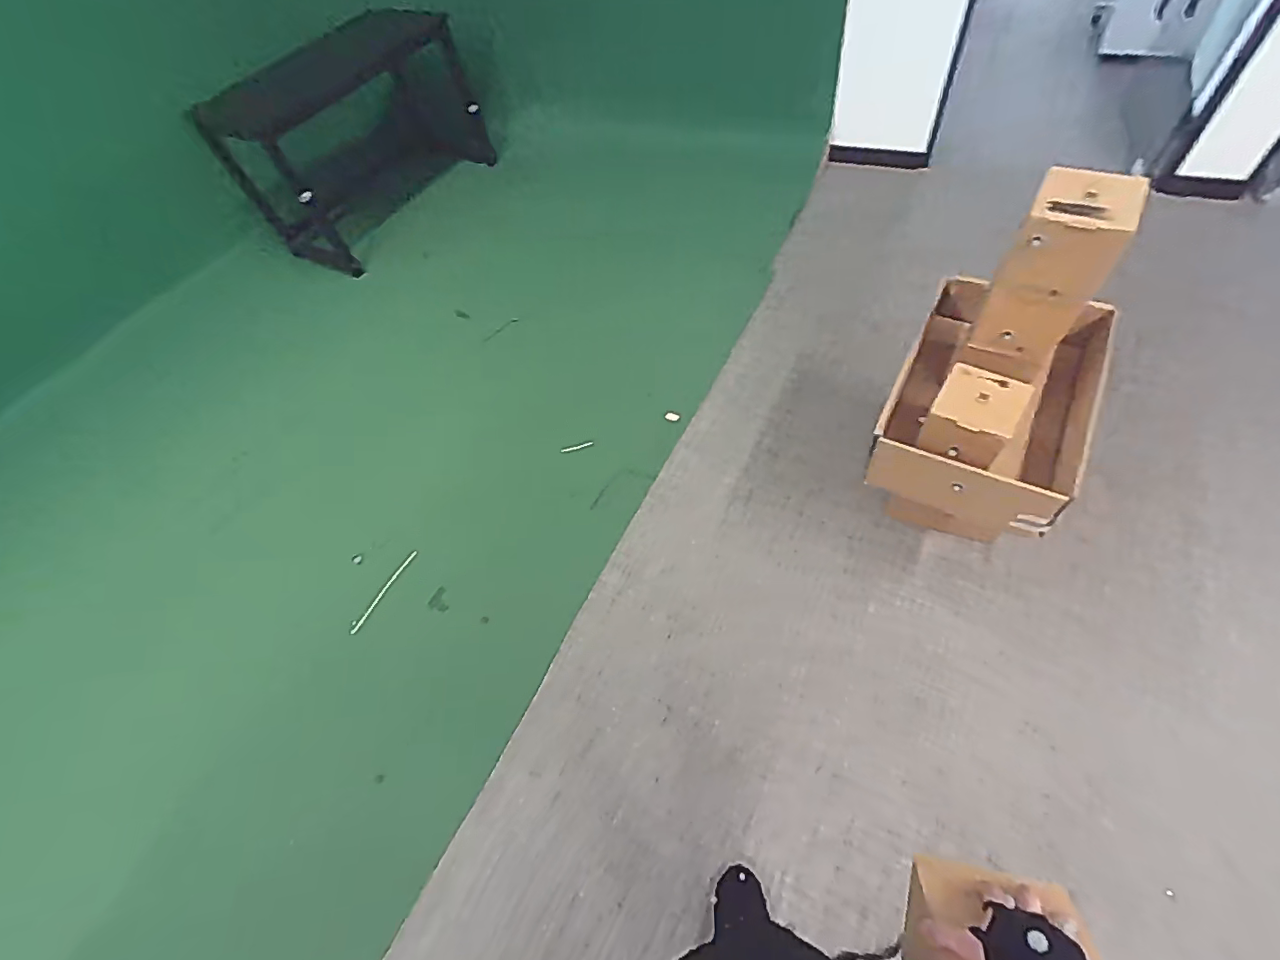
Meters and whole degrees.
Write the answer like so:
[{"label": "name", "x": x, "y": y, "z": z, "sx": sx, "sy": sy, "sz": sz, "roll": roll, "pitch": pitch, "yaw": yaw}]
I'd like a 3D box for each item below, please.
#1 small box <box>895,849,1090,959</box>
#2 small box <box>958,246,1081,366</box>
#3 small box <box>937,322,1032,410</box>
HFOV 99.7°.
[{"label": "small box", "x": 0.393, "y": 0.576, "z": 0.608, "sx": 0.168, "sy": 0.179, "sz": 0.176, "roll": 5, "pitch": 102, "yaw": 17}, {"label": "small box", "x": 0.856, "y": -0.395, "z": 1.233, "sx": 0.168, "sy": 0.176, "sz": 0.179, "roll": 22, "pitch": 65, "yaw": 21}, {"label": "small box", "x": 0.881, "y": -0.312, "z": 1.370, "sx": 0.168, "sy": 0.176, "sz": 0.179, "roll": 22, "pitch": 65, "yaw": 22}]
